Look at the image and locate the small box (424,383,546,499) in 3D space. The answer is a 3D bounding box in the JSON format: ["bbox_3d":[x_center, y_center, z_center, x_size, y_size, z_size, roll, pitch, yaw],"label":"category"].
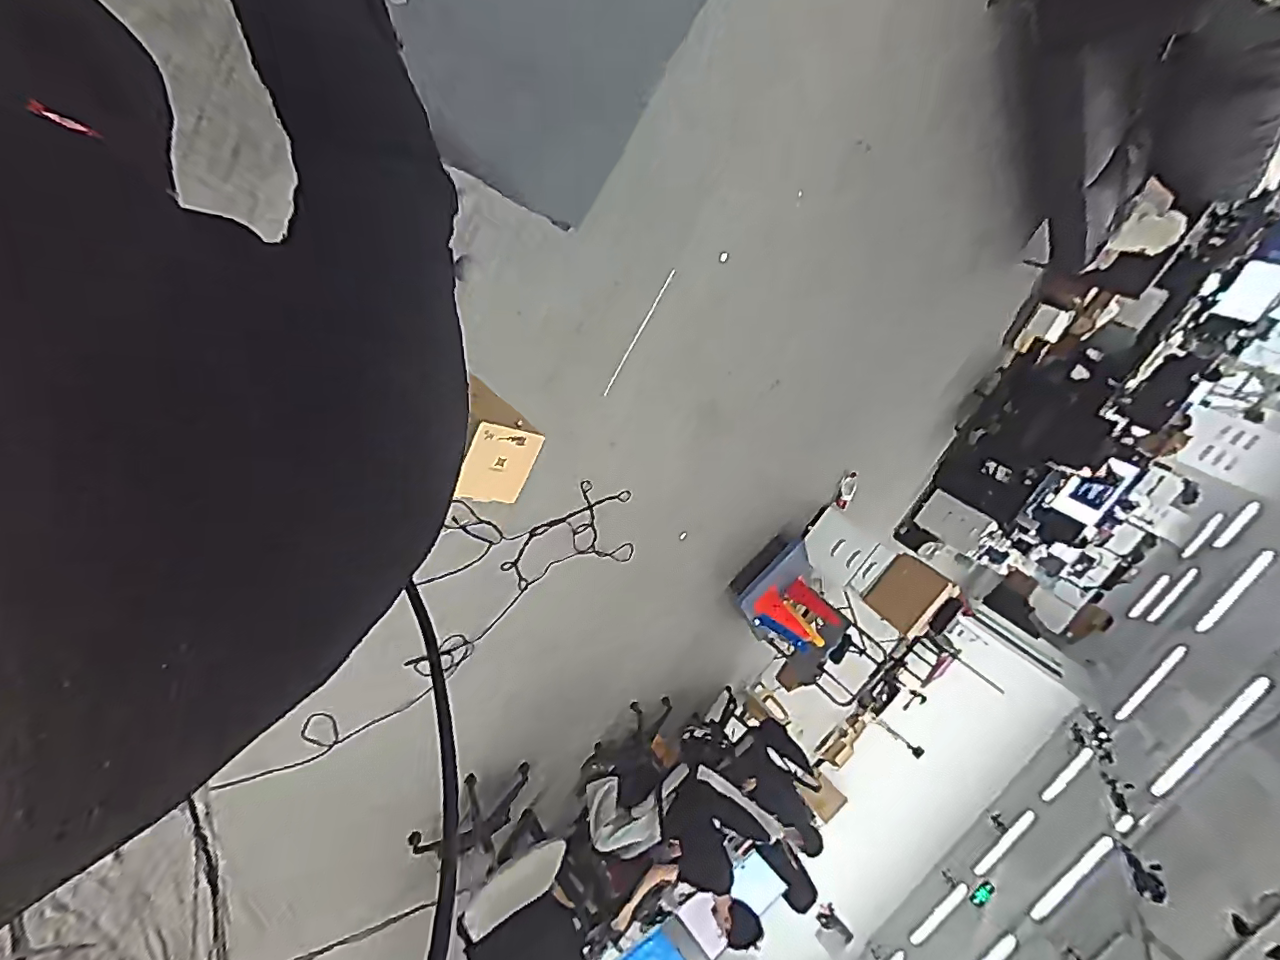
[{"bbox_3d":[-0.341,-0.081,1.164,0.168,0.176,0.179,10,114,-51],"label":"small box"}]
